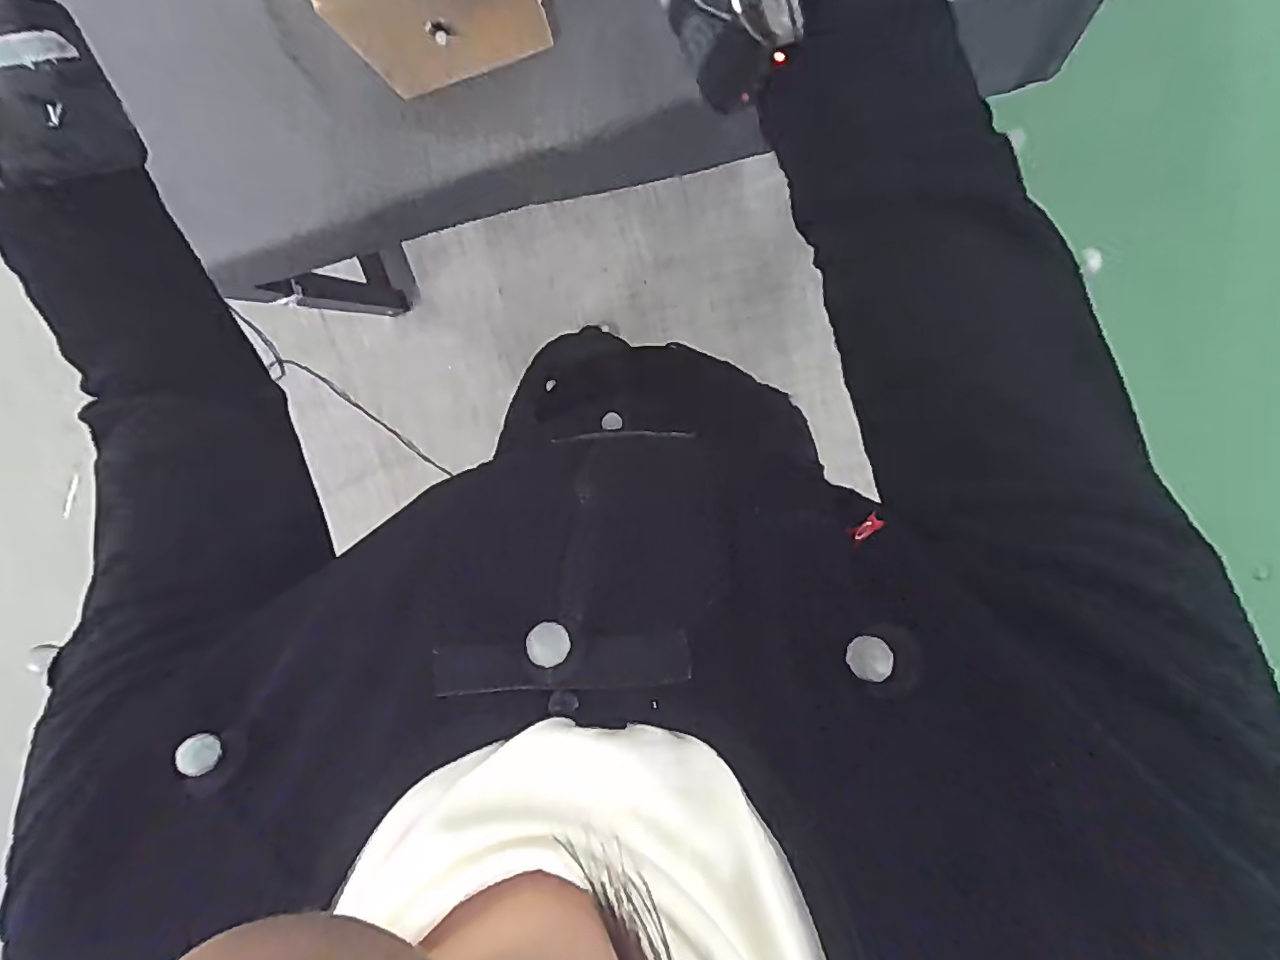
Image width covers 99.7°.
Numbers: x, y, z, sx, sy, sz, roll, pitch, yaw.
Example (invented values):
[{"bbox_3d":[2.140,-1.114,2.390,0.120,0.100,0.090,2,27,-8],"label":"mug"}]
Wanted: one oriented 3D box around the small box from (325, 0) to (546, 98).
[{"bbox_3d":[-0.196,-0.499,0.495,0.179,0.176,0.168,-19,103,5],"label":"small box"}]
